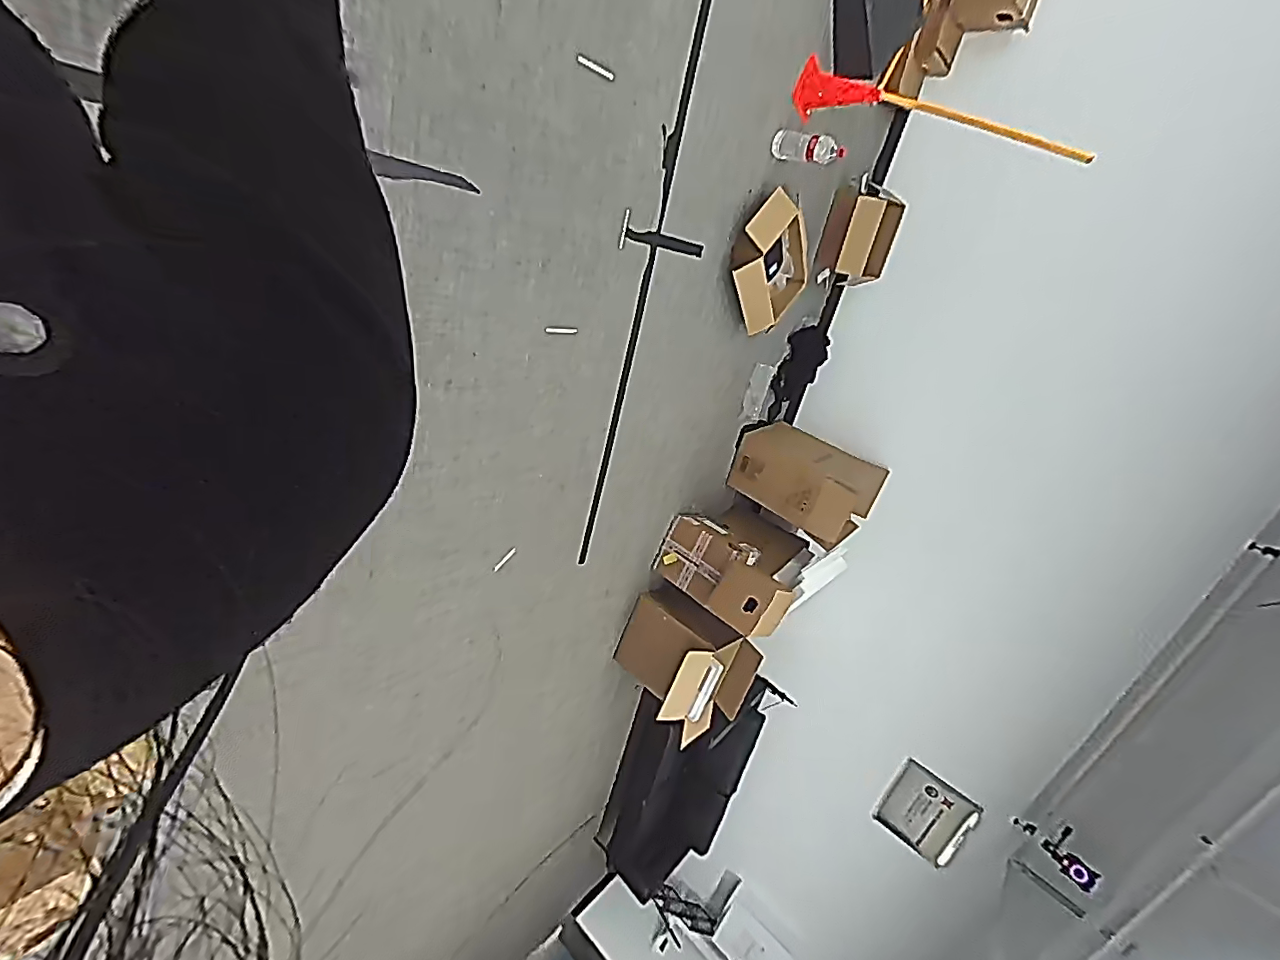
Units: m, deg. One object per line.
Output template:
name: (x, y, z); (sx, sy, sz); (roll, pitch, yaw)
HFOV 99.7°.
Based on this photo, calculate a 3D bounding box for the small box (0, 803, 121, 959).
small box: (-1.184, 0.799, 1.079); (0.168, 0.176, 0.179); (-22, 132, -45)

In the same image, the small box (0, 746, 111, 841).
small box: (-1.298, 0.726, 1.174); (0.168, 0.176, 0.179); (-22, 133, -45)

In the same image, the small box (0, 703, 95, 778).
small box: (-1.417, 0.651, 1.257); (0.168, 0.176, 0.179); (-20, 132, -46)
